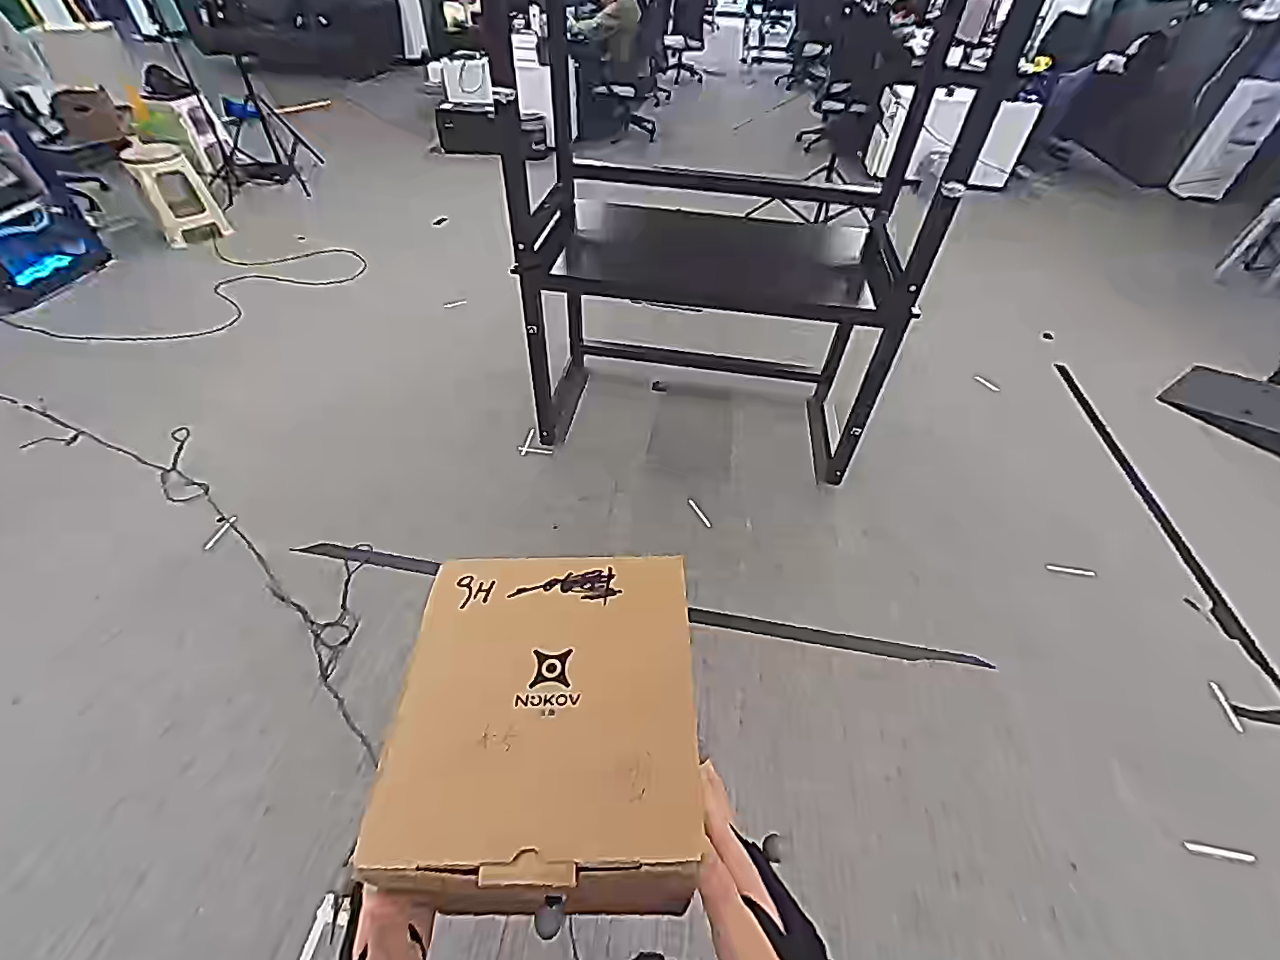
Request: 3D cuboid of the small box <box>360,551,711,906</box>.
[{"bbox_3d":[-0.046,0.167,0.359,0.168,0.176,0.179,0,47,0],"label":"small box"}]
